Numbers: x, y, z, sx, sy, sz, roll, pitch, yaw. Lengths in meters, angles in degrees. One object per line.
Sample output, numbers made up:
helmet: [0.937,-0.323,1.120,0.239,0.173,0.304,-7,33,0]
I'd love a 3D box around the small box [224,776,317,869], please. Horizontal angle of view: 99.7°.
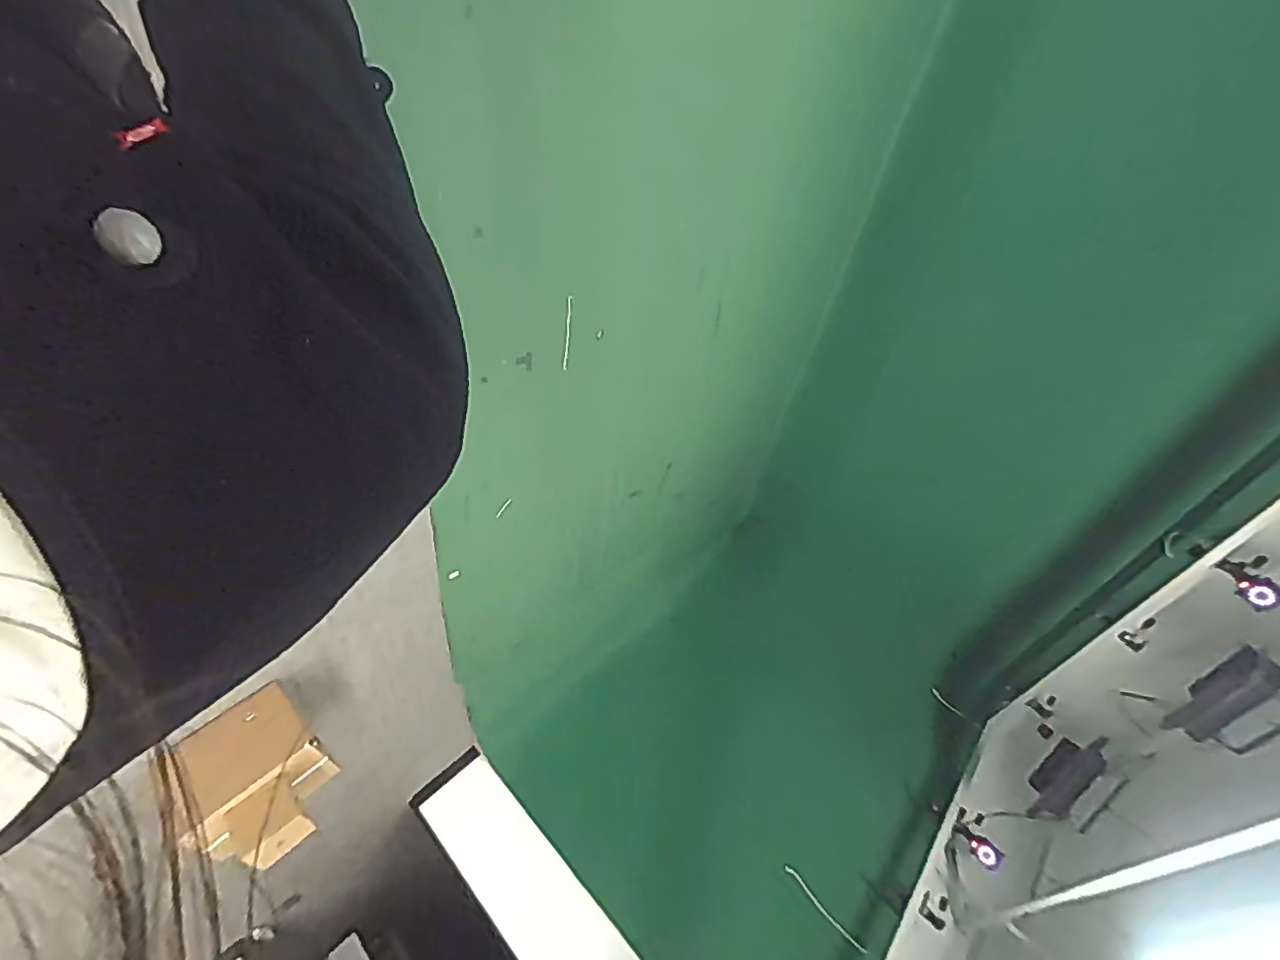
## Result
small box: [-1.208,1.116,1.770,0.179,0.176,0.168,-34,146,-33]
